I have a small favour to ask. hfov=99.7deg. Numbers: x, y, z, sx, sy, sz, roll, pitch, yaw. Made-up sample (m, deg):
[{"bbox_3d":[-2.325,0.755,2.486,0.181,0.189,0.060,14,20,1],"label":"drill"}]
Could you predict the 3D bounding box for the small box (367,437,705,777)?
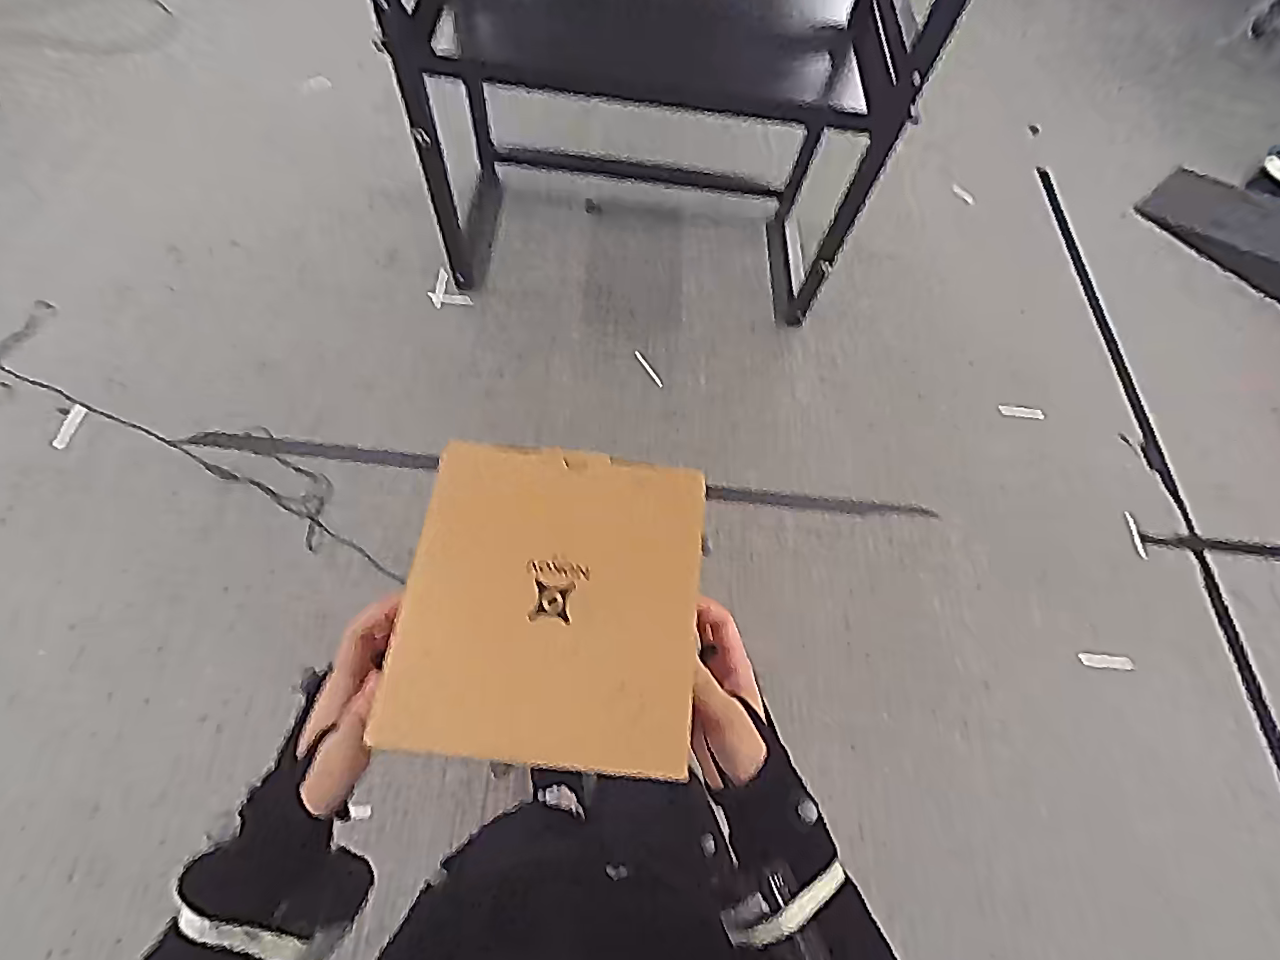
[{"bbox_3d":[-0.054,0.093,0.378,0.168,0.176,0.179,7,66,-2],"label":"small box"}]
